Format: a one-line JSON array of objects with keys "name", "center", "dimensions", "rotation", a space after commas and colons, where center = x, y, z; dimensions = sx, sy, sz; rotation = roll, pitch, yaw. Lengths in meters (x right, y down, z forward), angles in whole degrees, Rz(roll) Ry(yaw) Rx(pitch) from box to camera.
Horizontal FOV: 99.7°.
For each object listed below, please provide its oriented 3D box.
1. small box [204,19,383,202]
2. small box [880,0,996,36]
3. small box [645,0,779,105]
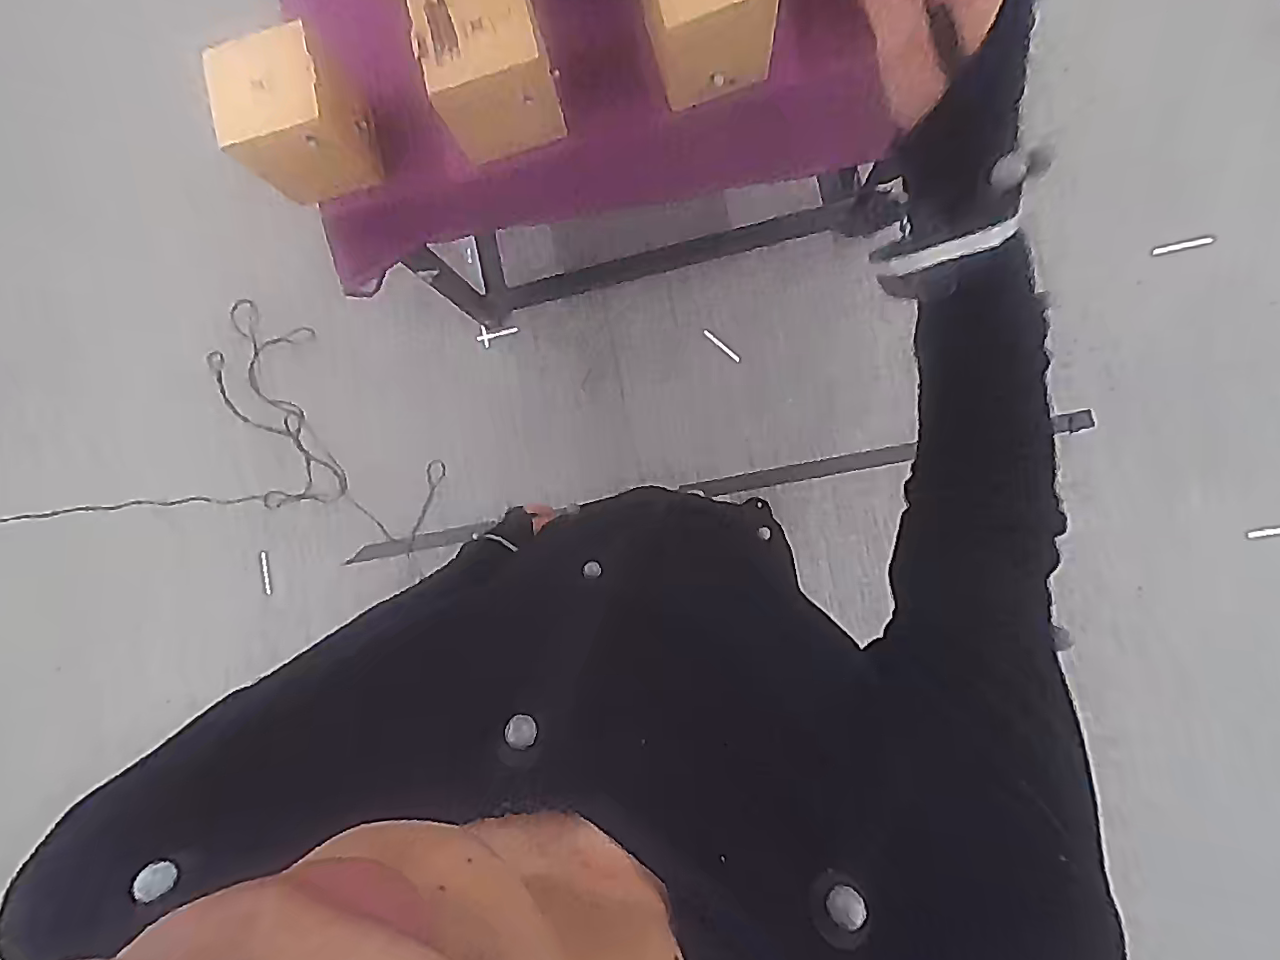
[{"name": "small box", "center": [-0.566, -0.599, 0.901], "dimensions": [0.179, 0.176, 0.168], "rotation": [-13, 86, 5]}, {"name": "small box", "center": [0.449, -0.808, 0.781], "dimensions": [0.168, 0.176, 0.179], "rotation": [-11, 86, 8]}, {"name": "small box", "center": [0.101, -0.730, 0.823], "dimensions": [0.168, 0.176, 0.179], "rotation": [-16, 87, 7]}]
